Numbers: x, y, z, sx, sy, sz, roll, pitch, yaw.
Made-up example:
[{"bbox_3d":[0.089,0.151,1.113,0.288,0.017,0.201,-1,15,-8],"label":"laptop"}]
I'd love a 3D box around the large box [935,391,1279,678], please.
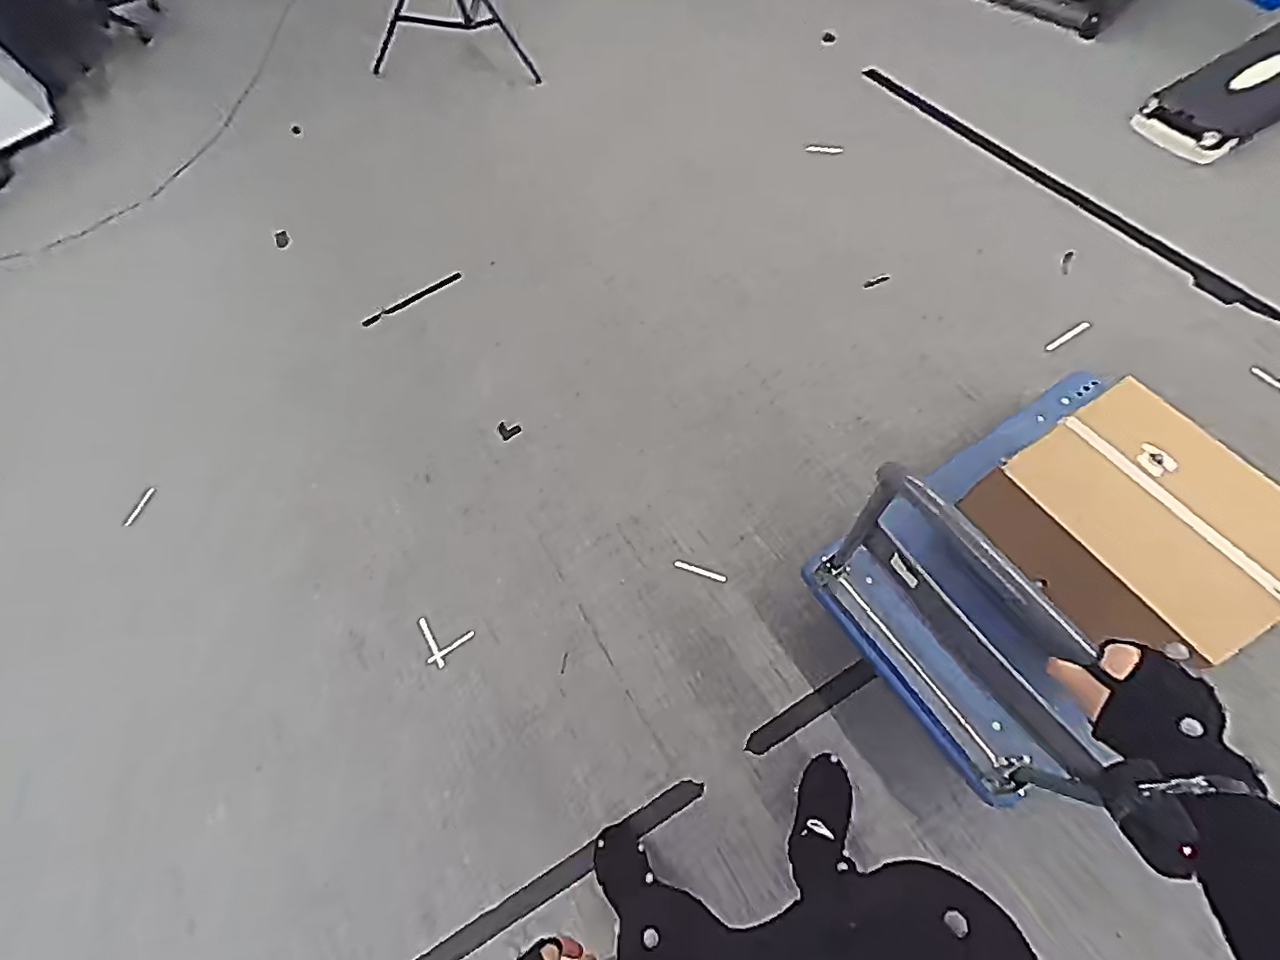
[{"bbox_3d":[0.884,0.117,1.050,0.320,0.320,0.408,-32,64,-6],"label":"large box"}]
